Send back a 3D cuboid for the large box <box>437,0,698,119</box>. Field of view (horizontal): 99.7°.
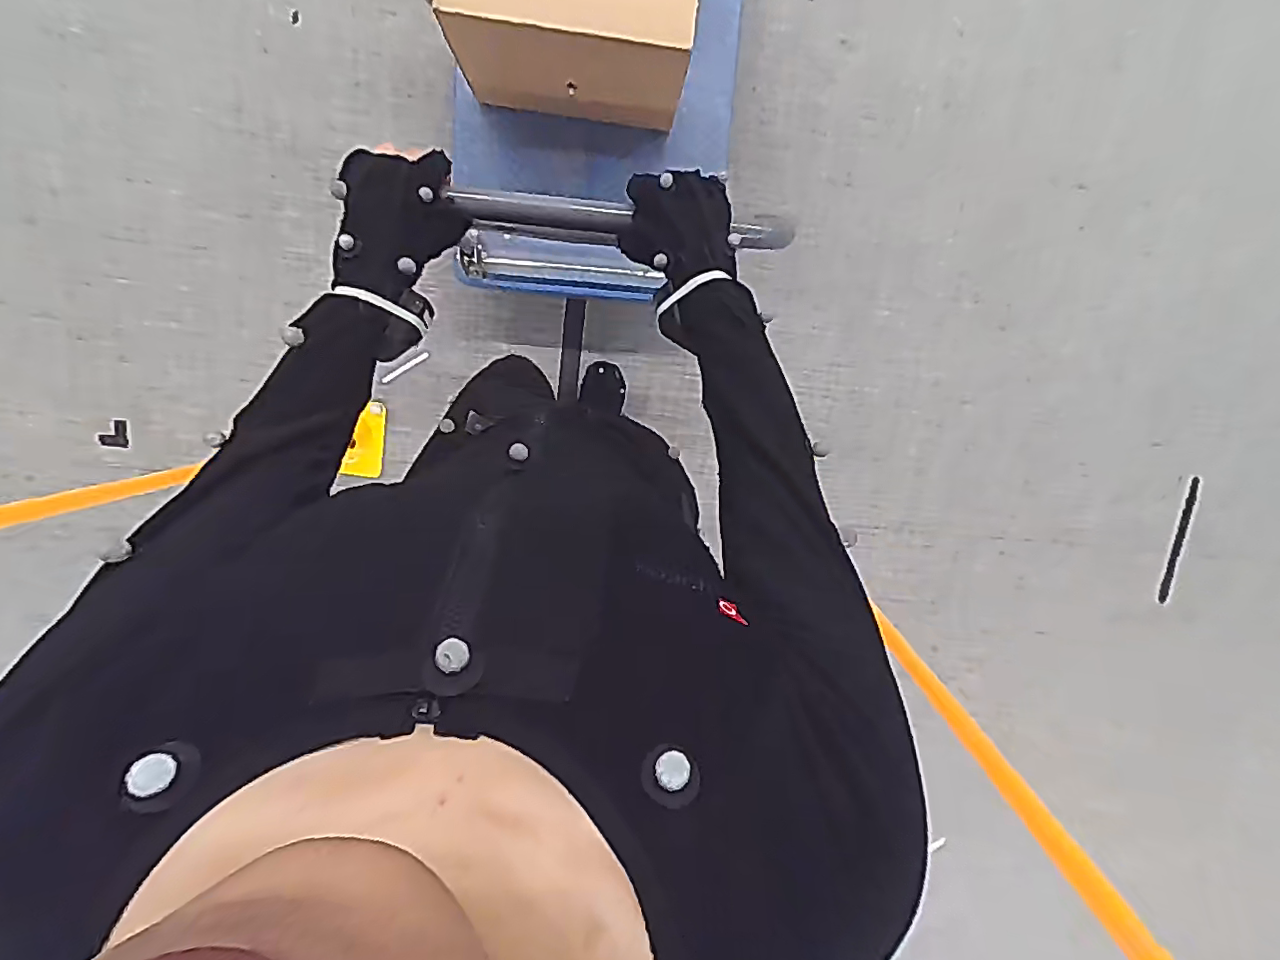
[{"bbox_3d":[-0.104,-0.885,0.948,0.408,0.320,0.320,6,102,-4],"label":"large box"}]
